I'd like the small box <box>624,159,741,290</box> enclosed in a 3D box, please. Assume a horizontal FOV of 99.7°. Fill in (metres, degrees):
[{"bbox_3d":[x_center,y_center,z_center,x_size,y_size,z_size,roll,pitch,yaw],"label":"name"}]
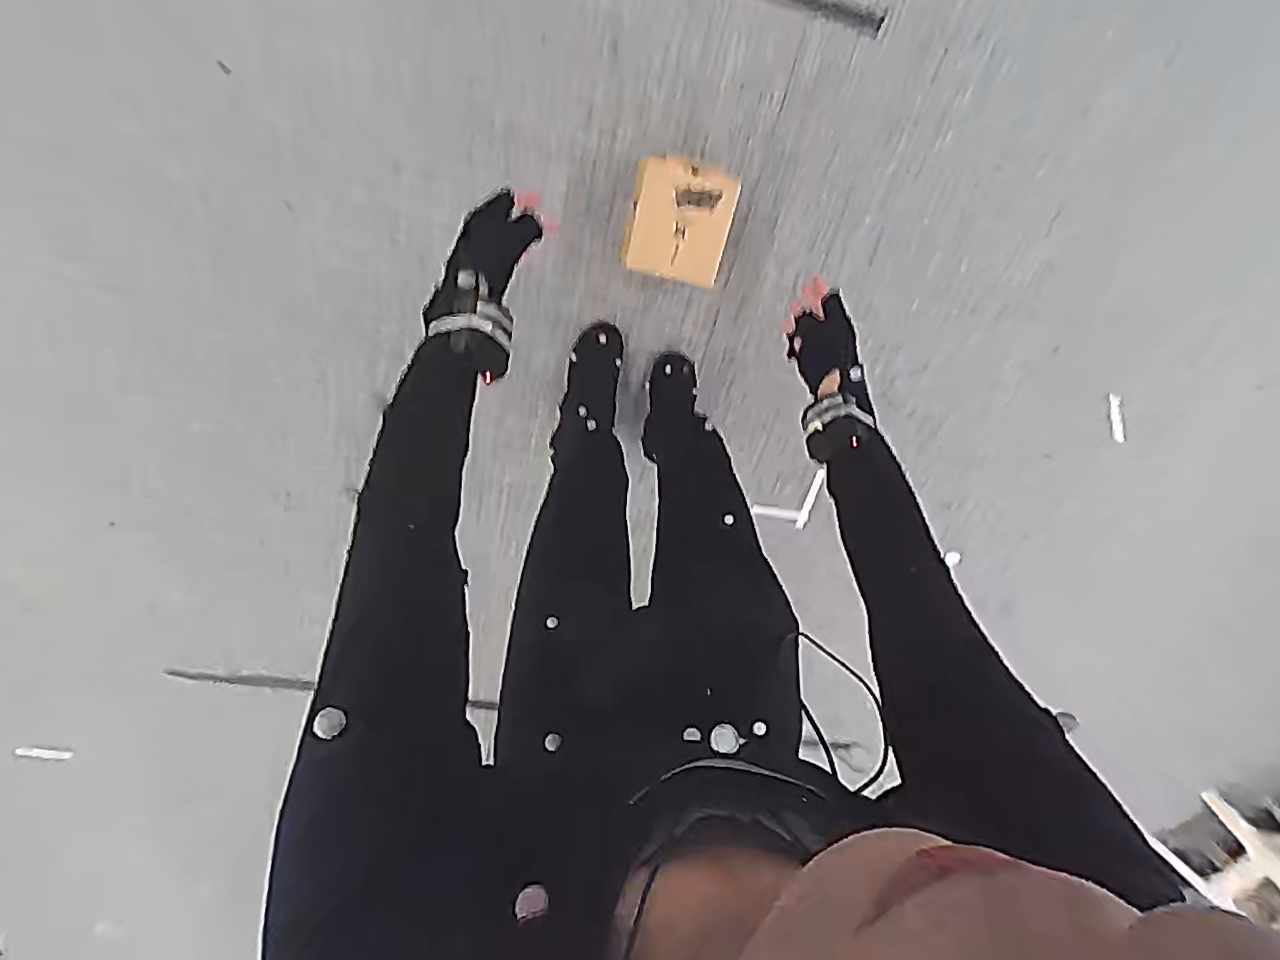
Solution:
[{"bbox_3d":[0.066,-0.471,0.999,0.168,0.176,0.179,10,118,-10],"label":"small box"}]
